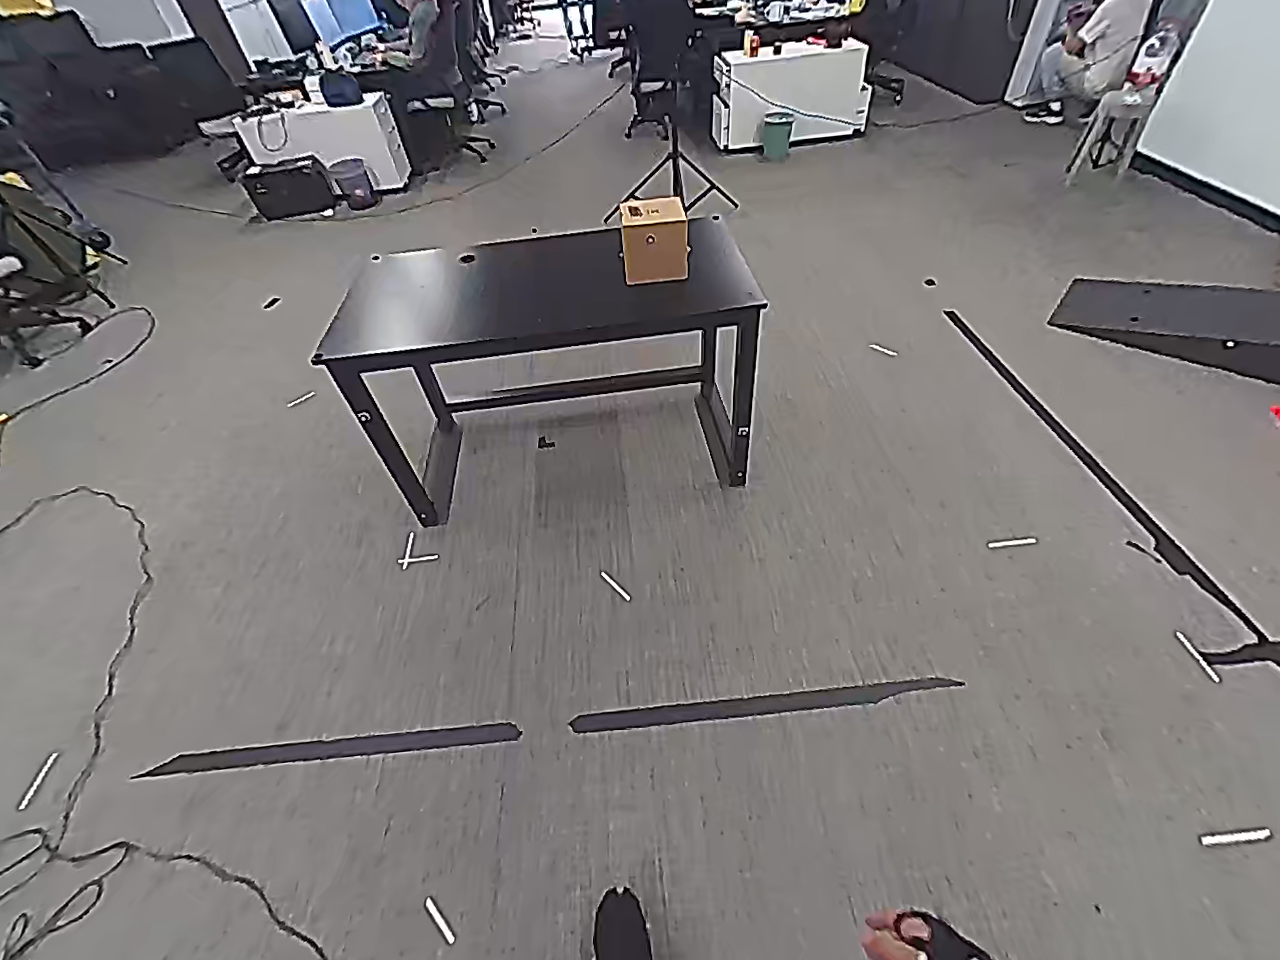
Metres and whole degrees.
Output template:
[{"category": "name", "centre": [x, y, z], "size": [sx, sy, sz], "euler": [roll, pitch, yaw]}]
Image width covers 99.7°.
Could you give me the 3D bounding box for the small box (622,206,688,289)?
[{"category": "small box", "centre": [0.044, -0.668, 1.561], "size": [0.179, 0.176, 0.168], "euler": [-5, 47, 1]}]
